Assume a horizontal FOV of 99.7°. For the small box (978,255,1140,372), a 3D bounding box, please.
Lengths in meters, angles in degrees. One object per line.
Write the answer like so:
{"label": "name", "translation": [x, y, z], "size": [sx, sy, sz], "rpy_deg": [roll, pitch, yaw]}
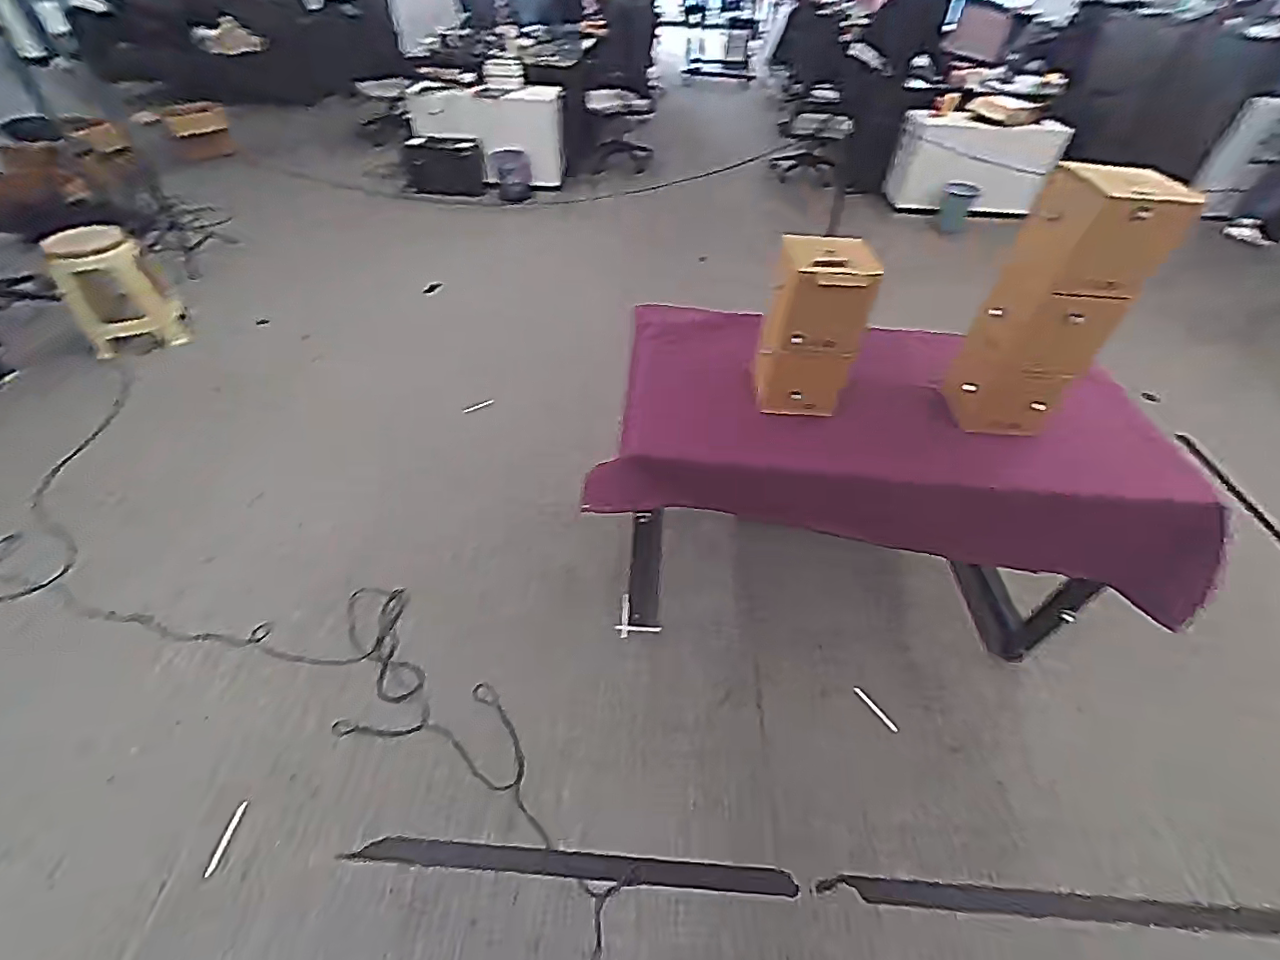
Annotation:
{"label": "small box", "translation": [0.820, -0.333, 1.087], "size": [0.179, 0.176, 0.168], "rpy_deg": [4, 47, 0]}

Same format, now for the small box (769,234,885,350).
{"label": "small box", "translation": [0.374, -0.385, 1.113], "size": [0.168, 0.176, 0.179], "rpy_deg": [3, 46, -1]}

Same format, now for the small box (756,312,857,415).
{"label": "small box", "translation": [0.368, -0.271, 1.231], "size": [0.168, 0.176, 0.179], "rpy_deg": [4, 47, 0]}

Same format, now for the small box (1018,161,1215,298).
{"label": "small box", "translation": [0.832, -0.450, 0.973], "size": [0.168, 0.176, 0.179], "rpy_deg": [4, 46, 0]}

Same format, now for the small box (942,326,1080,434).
{"label": "small box", "translation": [0.814, -0.221, 1.208], "size": [0.168, 0.176, 0.179], "rpy_deg": [4, 46, 0]}
